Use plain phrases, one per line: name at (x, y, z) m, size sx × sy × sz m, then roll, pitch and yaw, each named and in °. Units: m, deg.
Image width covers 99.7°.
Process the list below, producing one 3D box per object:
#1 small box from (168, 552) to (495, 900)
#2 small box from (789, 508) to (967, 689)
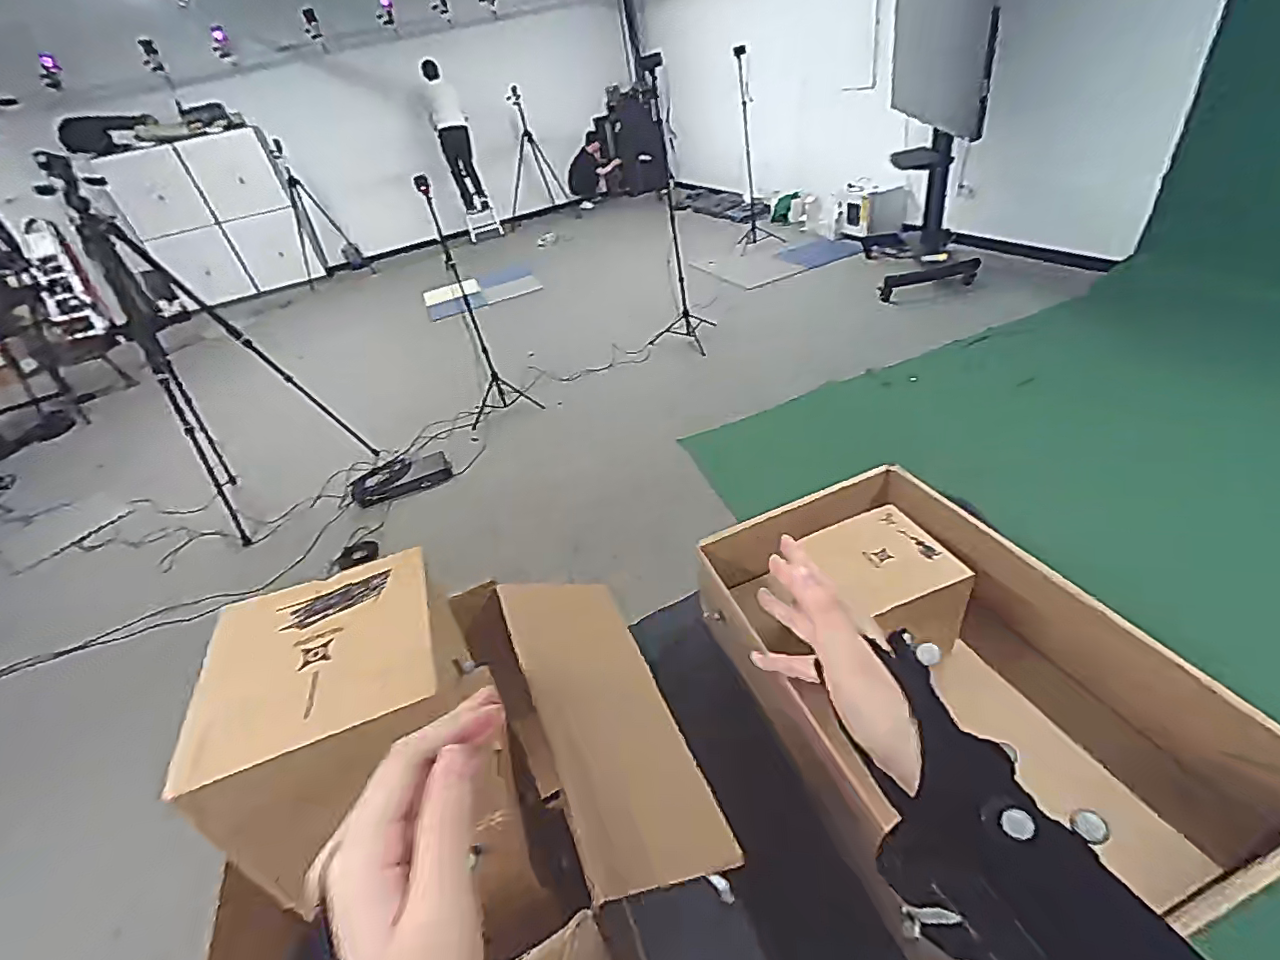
small box at (-0.233, 0.196, 0.456) m, size 0.168 × 0.176 × 0.179 m, roll -18°, pitch 35°, yaw -15°
small box at (0.344, 0.177, 0.805) m, size 0.179 × 0.176 × 0.168 m, roll -21°, pitch 38°, yaw -8°
